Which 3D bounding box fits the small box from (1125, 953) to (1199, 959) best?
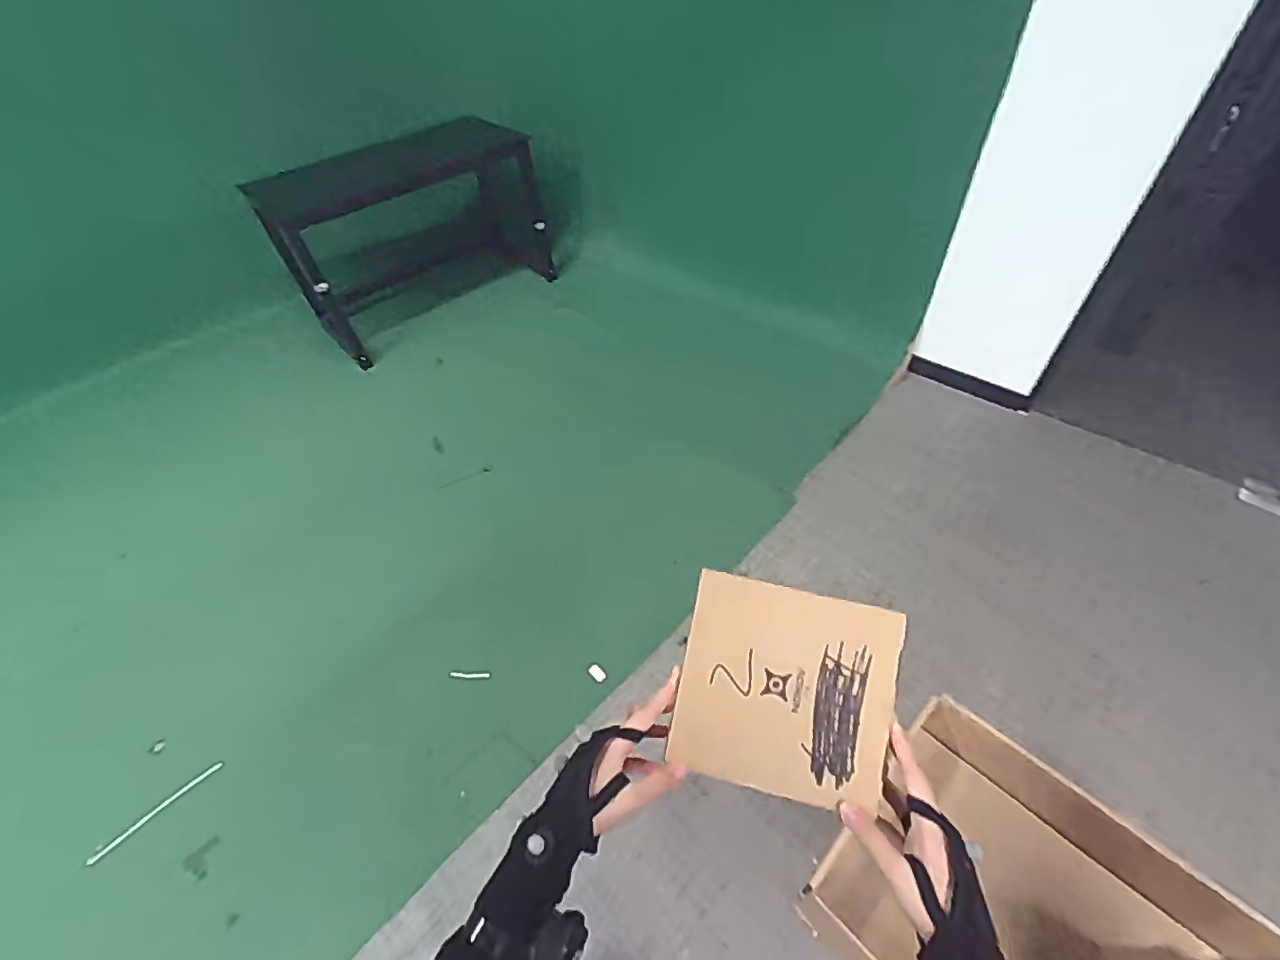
[{"bbox_3d":[0.655,0.711,0.632,0.179,0.176,0.168,-33,53,-23],"label":"small box"}]
